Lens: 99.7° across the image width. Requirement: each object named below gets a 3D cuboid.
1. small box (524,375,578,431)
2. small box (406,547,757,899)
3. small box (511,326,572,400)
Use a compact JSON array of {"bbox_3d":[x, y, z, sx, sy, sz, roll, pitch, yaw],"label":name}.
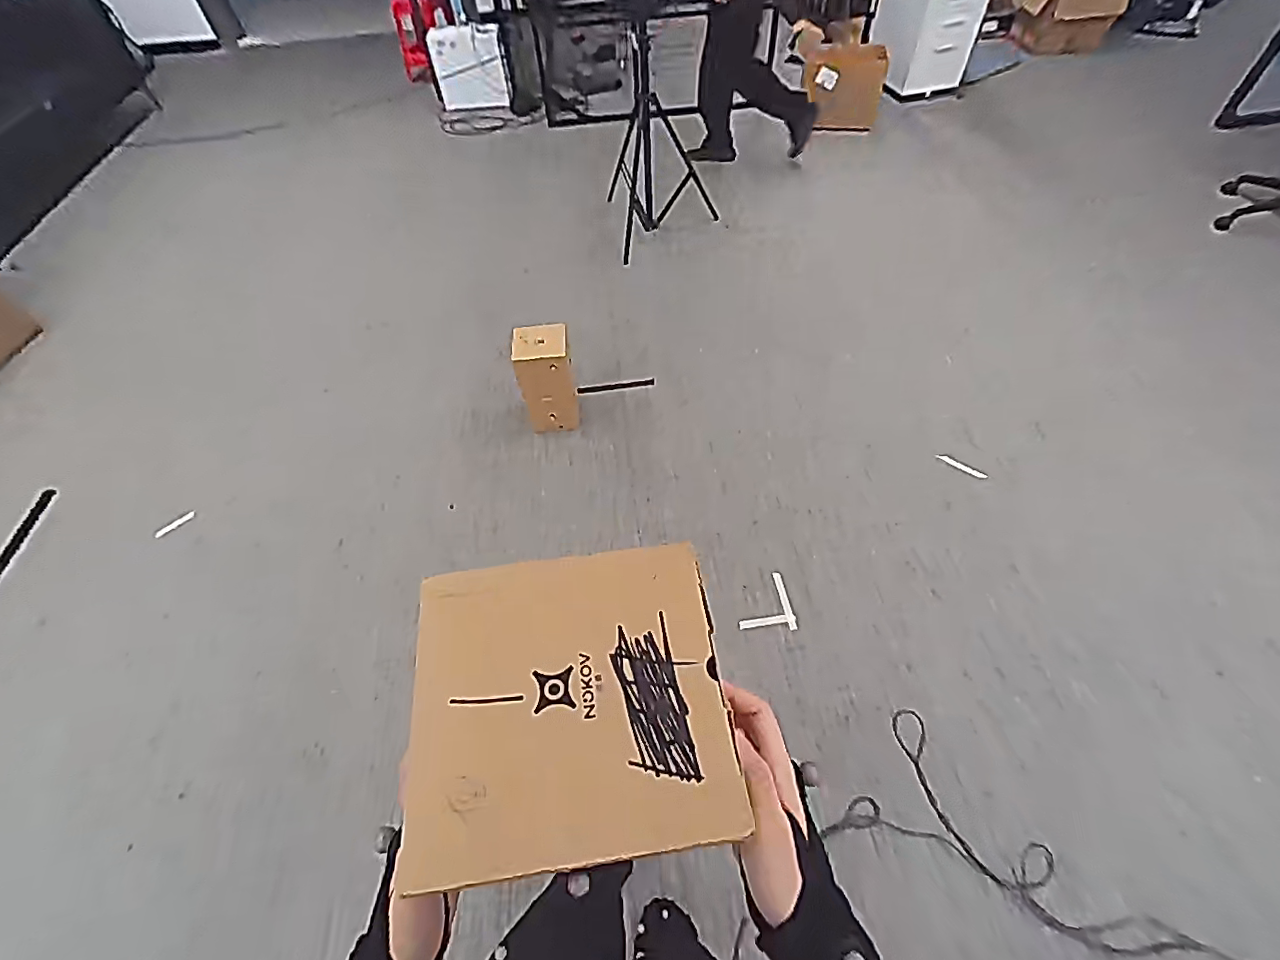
[{"bbox_3d":[-0.315,-0.288,1.943,0.168,0.176,0.179,-6,54,-1],"label":"small box"},{"bbox_3d":[-0.038,0.164,0.372,0.179,0.176,0.168,-7,57,-5],"label":"small box"},{"bbox_3d":[-0.322,-0.389,1.810,0.179,0.176,0.168,-6,53,-1],"label":"small box"}]
